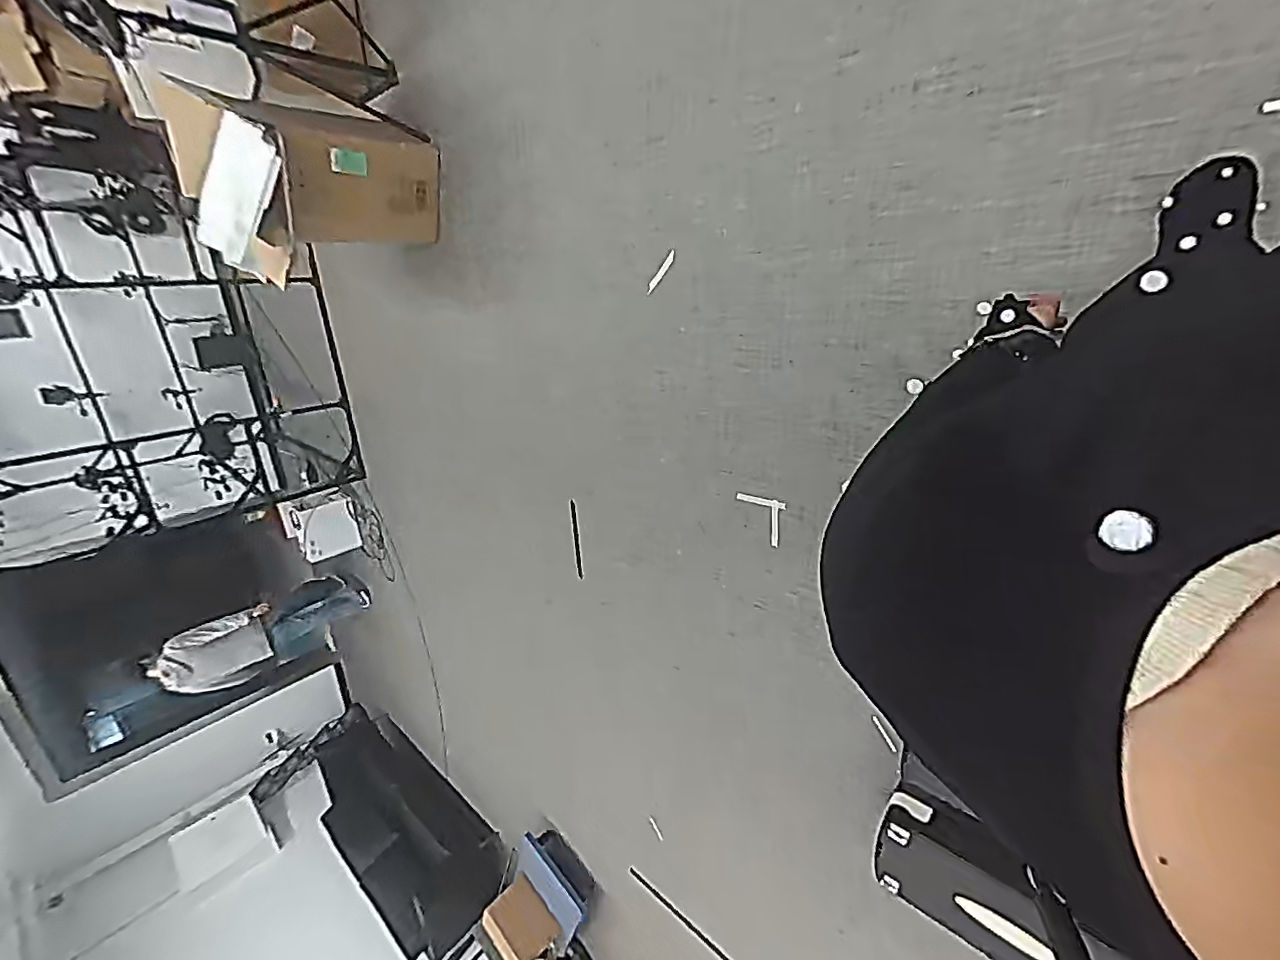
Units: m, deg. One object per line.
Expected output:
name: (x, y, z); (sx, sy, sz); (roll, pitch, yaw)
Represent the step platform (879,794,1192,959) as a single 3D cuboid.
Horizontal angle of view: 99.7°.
step platform: (0.976, 1.146, 1.358); (0.684, 0.204, 0.286); (23, 120, 40)
